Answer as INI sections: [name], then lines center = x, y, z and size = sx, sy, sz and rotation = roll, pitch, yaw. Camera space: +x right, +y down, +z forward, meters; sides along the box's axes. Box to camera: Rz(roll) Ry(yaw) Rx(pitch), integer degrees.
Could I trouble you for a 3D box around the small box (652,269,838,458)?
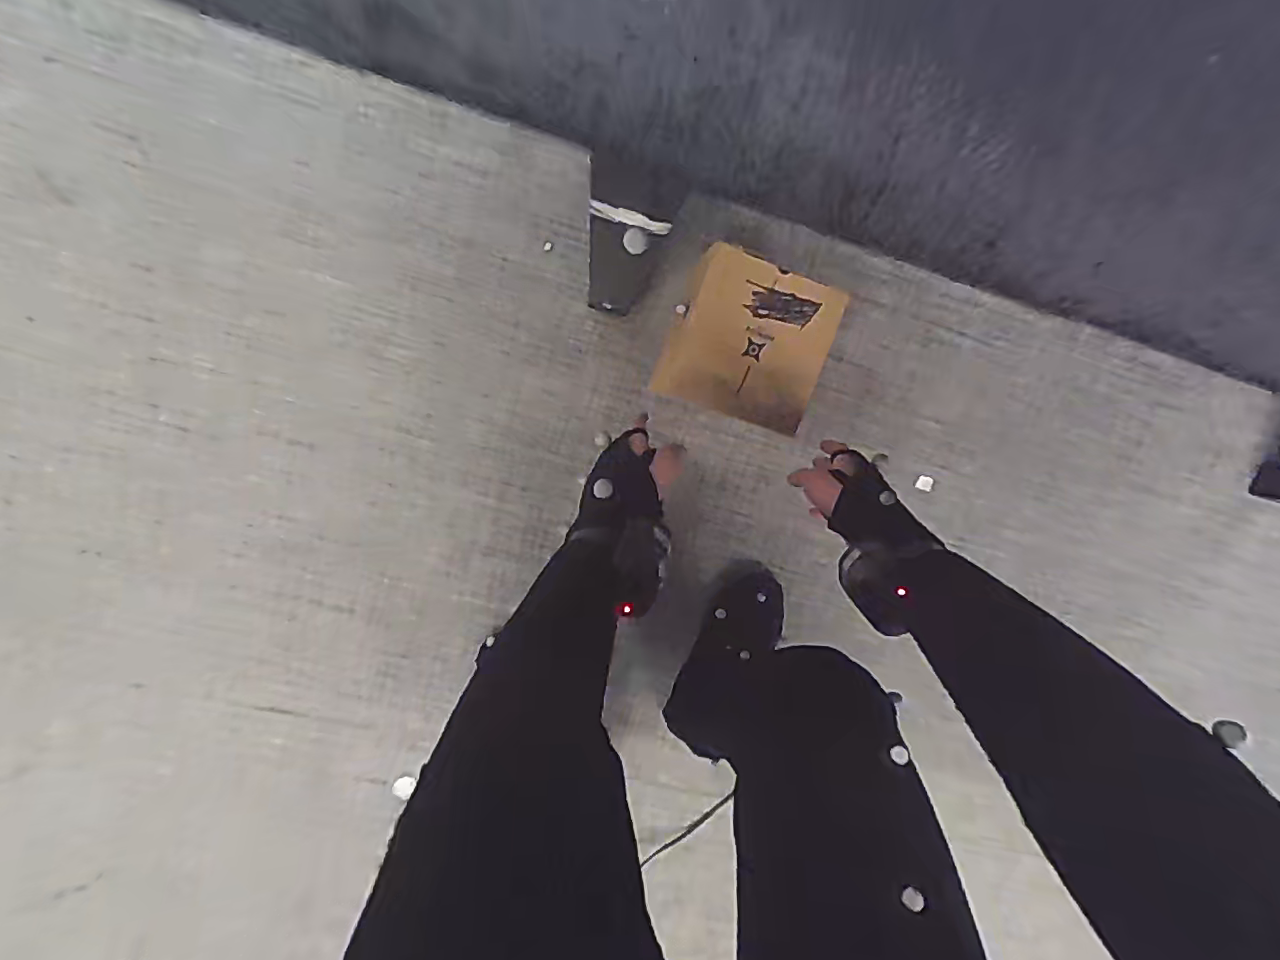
[small box]
center = 0.120, -0.144, 0.703
size = 0.168, 0.176, 0.179
rotation = 18, 98, -7
